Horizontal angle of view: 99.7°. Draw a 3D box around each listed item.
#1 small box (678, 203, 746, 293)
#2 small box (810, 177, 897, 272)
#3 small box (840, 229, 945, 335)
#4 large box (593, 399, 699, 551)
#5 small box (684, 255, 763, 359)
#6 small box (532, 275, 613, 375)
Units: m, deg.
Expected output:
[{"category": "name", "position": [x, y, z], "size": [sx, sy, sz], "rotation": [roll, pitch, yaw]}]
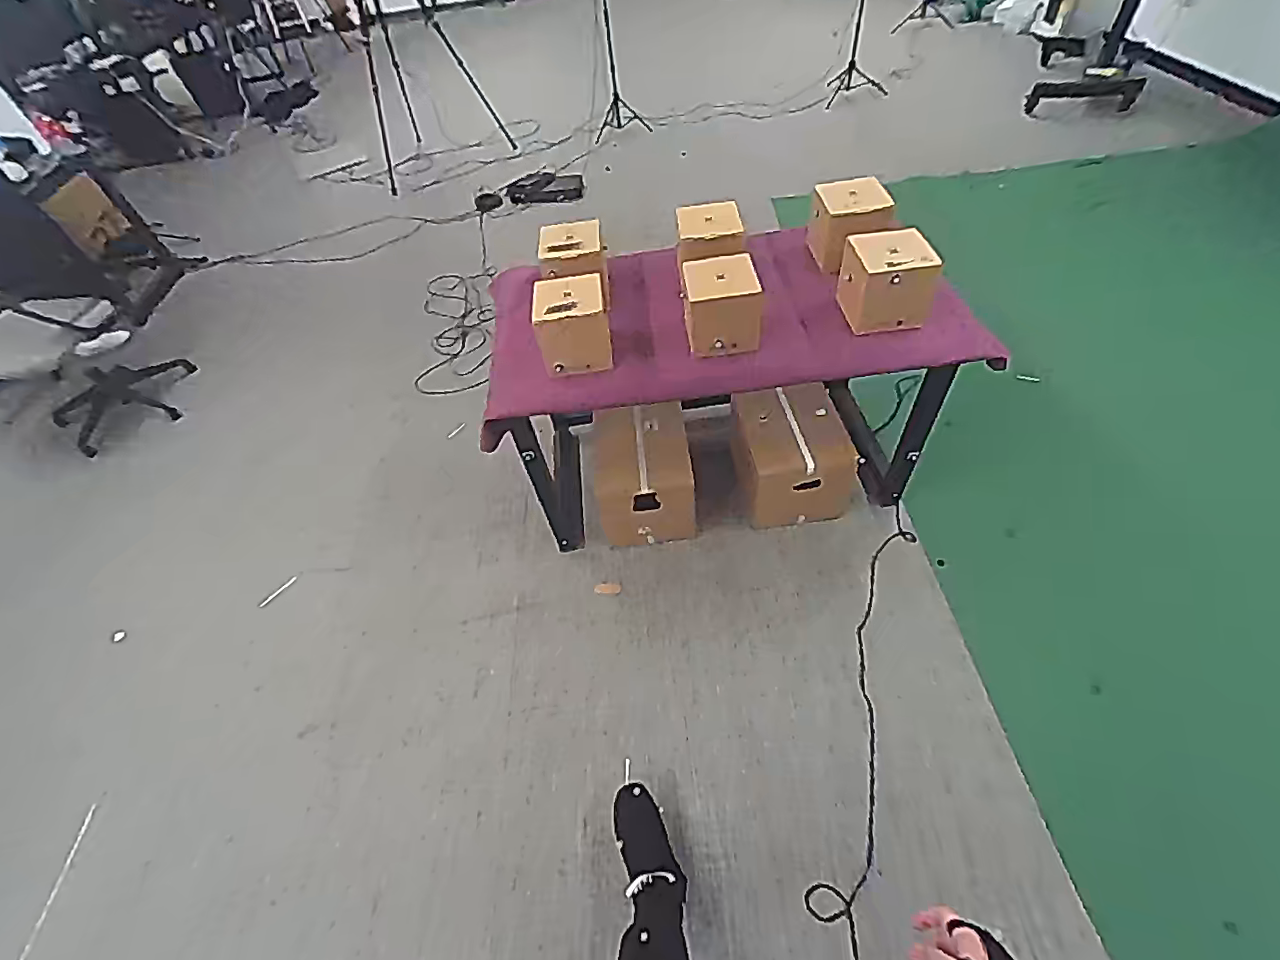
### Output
[{"category": "small box", "position": [0.194, -0.634, 1.492], "size": [0.168, 0.176, 0.179], "rotation": [-6, 52, 3]}, {"category": "small box", "position": [0.575, -0.697, 1.482], "size": [0.168, 0.176, 0.179], "rotation": [-7, 52, 5]}, {"category": "small box", "position": [0.595, -0.475, 1.303], "size": [0.168, 0.176, 0.179], "rotation": [-7, 49, 5]}, {"category": "large box", "position": [0.021, -0.017, 1.876], "size": [0.320, 0.320, 0.408], "rotation": [-7, 50, 2]}, {"category": "small box", "position": [0.199, -0.420, 1.319], "size": [0.168, 0.176, 0.179], "rotation": [-7, 50, 4]}, {"category": "small box", "position": [-0.161, -0.375, 1.333], "size": [0.168, 0.176, 0.179], "rotation": [-8, 49, 1]}]
